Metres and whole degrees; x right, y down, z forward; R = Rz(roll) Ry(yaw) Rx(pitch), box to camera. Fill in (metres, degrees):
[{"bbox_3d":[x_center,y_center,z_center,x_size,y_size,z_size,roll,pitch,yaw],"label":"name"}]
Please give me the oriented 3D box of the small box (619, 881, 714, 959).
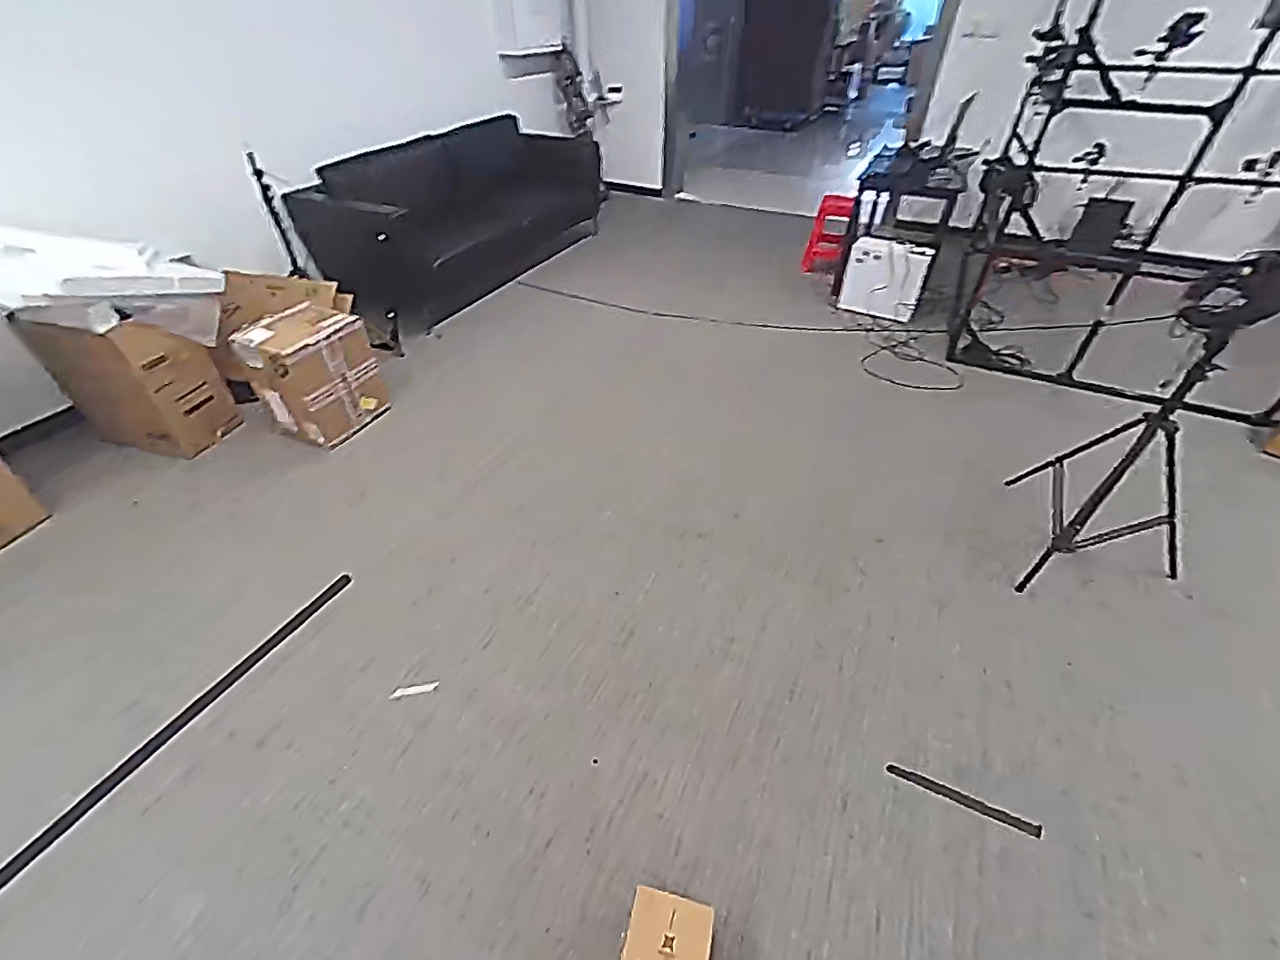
[{"bbox_3d":[0.051,0.969,1.105,0.168,0.176,0.179,11,42,12],"label":"small box"}]
